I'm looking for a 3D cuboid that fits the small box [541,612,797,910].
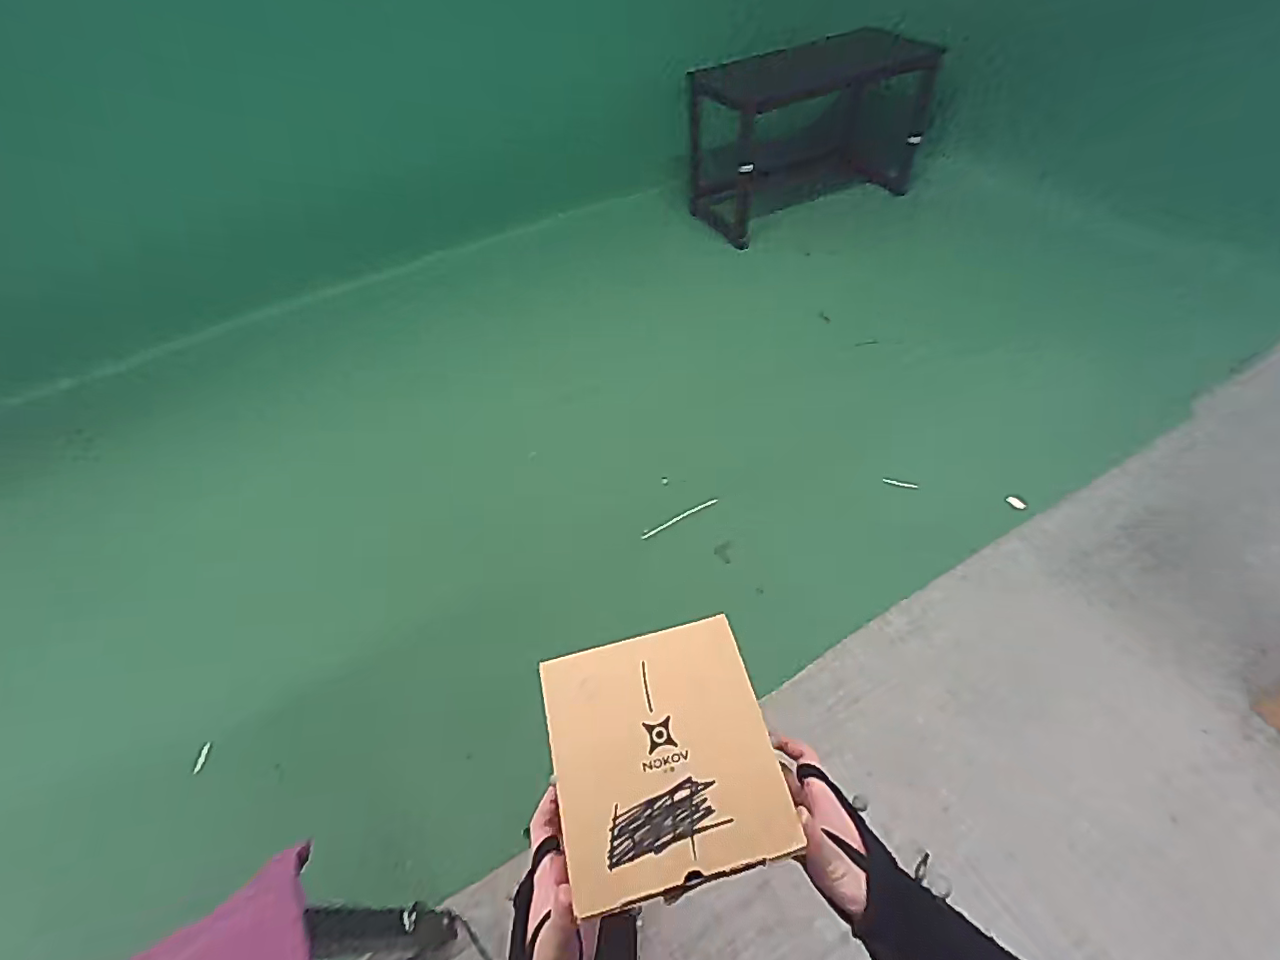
[{"bbox_3d":[0.019,0.243,0.477,0.168,0.176,0.179,-13,56,-5],"label":"small box"}]
